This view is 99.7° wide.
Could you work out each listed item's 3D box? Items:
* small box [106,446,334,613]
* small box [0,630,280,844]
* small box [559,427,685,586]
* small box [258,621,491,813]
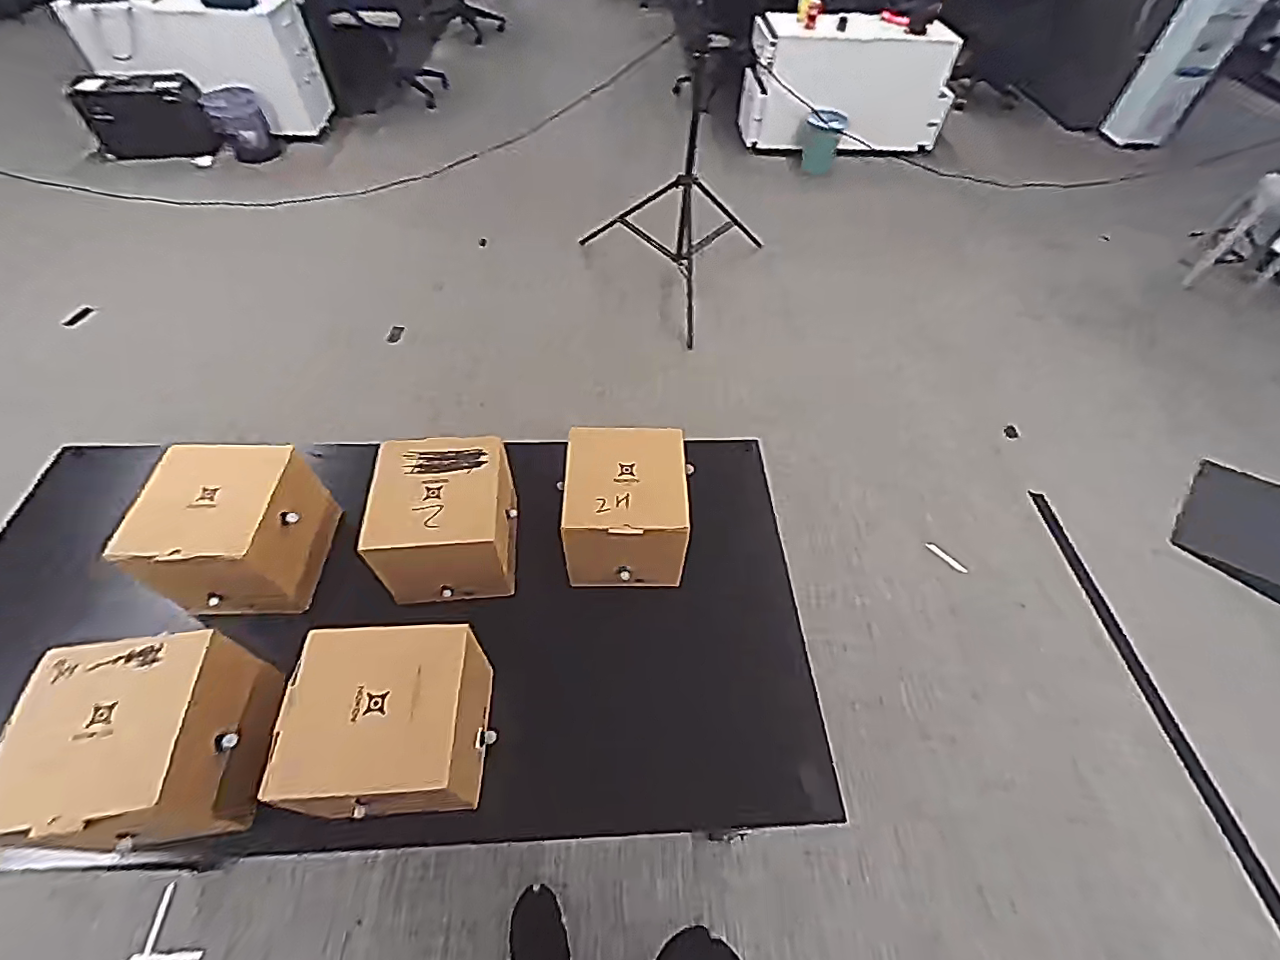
[{"bbox_3d":[-0.561,0.072,0.759,0.168,0.176,0.179,0,54,-3],"label":"small box"},{"bbox_3d":[-0.536,0.288,0.597,0.168,0.176,0.179,-6,54,-7],"label":"small box"},{"bbox_3d":[-0.027,0.041,0.805,0.168,0.176,0.179,0,53,-2],"label":"small box"},{"bbox_3d":[-0.280,0.275,0.621,0.179,0.176,0.168,-2,54,-5],"label":"small box"}]
